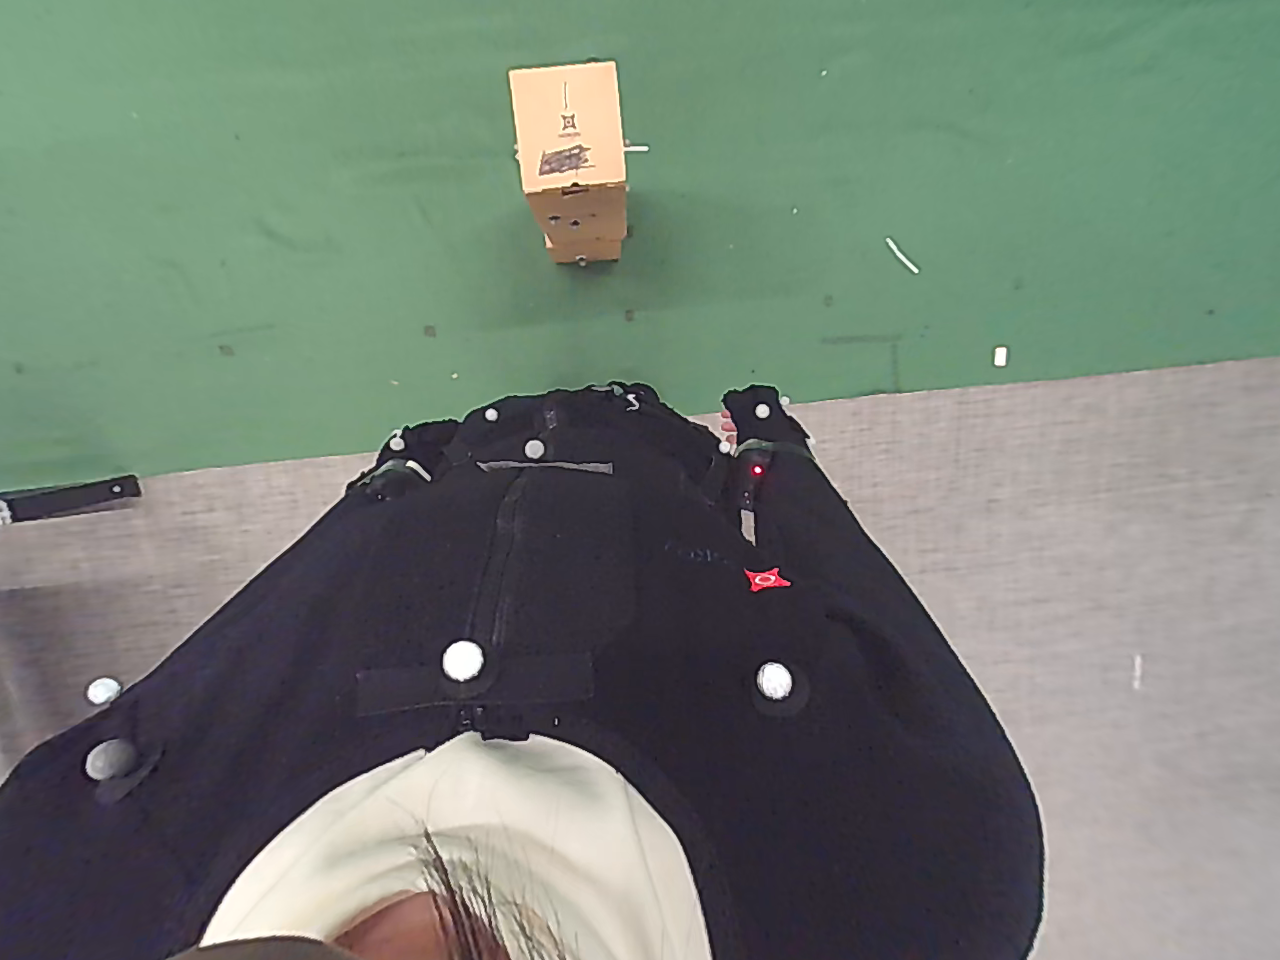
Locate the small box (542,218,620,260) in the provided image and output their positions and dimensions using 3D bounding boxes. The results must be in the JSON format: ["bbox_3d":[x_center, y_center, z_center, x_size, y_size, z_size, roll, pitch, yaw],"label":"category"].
[{"bbox_3d":[-0.130,-0.608,1.217,0.168,0.176,0.179,-3,101,0],"label":"small box"}]

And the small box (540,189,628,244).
[{"bbox_3d":[-0.115,-0.589,1.074,0.168,0.176,0.179,-6,99,-1],"label":"small box"}]

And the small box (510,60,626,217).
[{"bbox_3d":[-0.112,-0.559,0.912,0.168,0.176,0.179,-6,100,-1],"label":"small box"}]
